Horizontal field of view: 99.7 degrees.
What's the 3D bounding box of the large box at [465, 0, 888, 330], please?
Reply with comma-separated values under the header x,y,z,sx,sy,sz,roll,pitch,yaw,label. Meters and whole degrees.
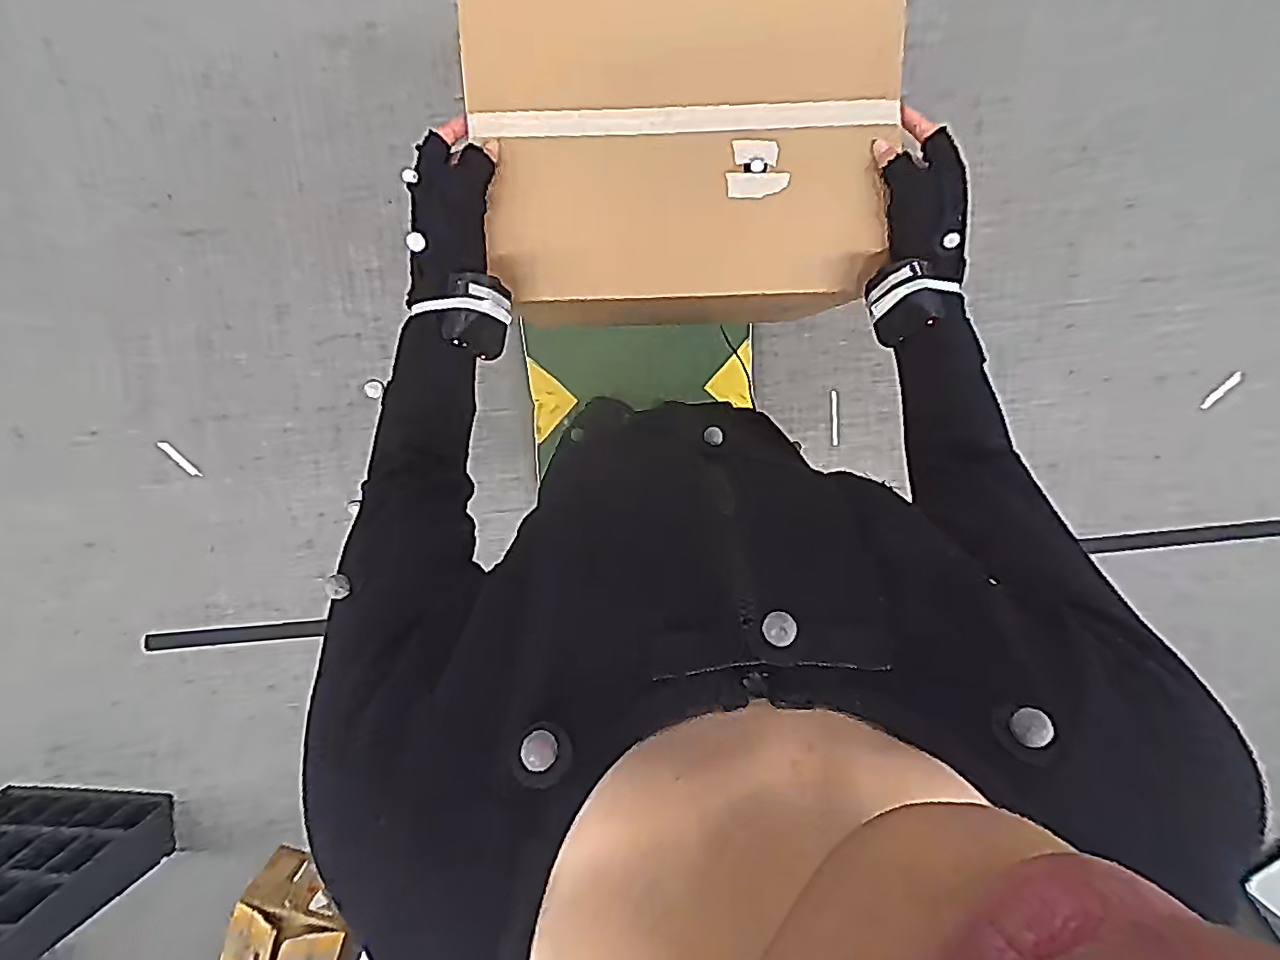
x,y,z,sx,sy,sz,roll,pitch,yaw,label
0.036,-0.369,0.671,0.408,0.320,0.320,-3,101,-1,large box
